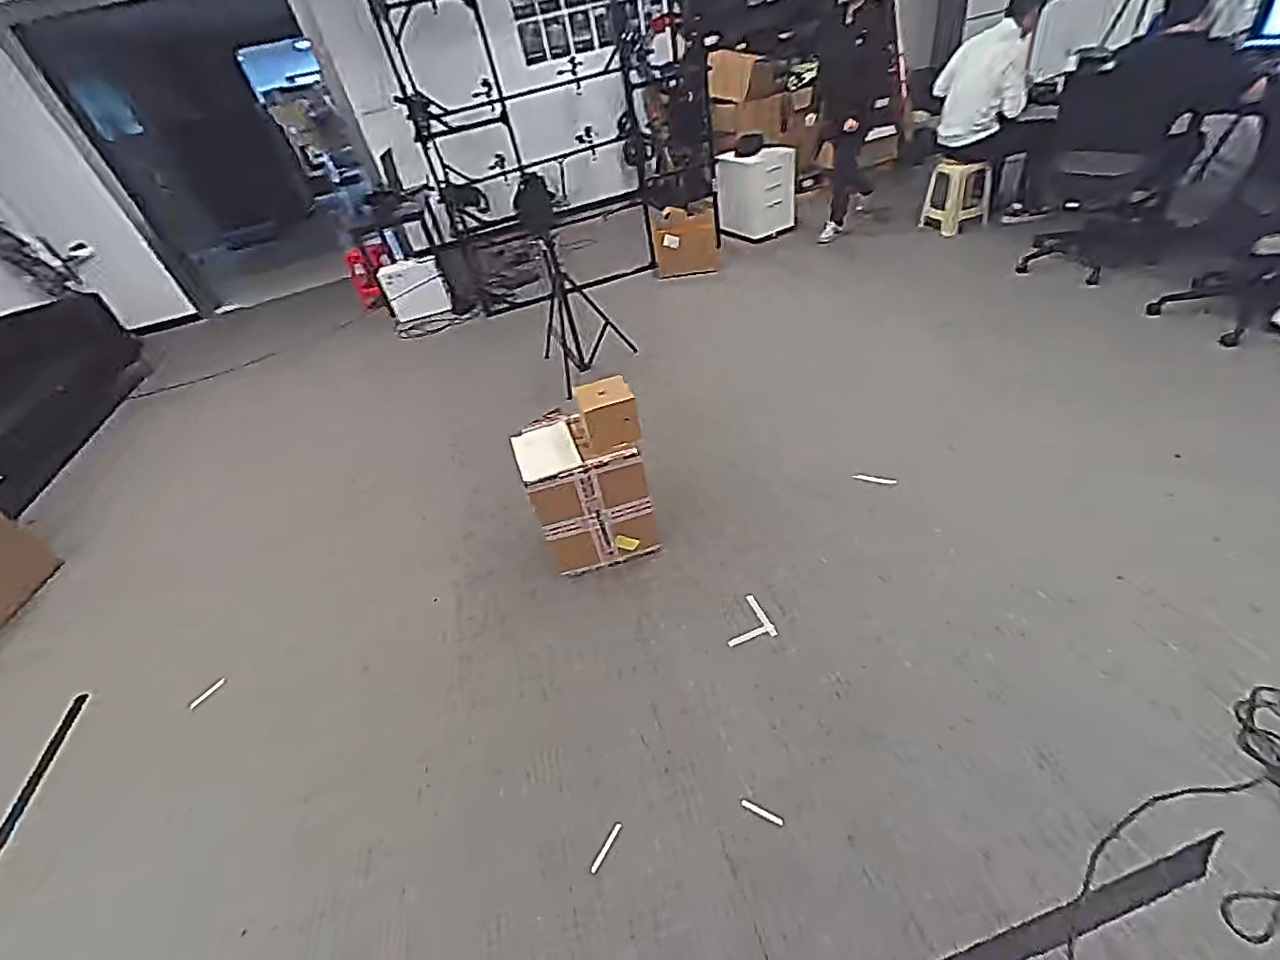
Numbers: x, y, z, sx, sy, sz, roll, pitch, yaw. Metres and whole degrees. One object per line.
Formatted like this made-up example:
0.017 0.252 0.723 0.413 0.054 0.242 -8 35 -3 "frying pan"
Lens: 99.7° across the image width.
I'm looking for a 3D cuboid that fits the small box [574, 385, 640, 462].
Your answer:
-0.106 -0.187 1.808 0.179 0.176 0.168 -19 41 -9 "small box"
